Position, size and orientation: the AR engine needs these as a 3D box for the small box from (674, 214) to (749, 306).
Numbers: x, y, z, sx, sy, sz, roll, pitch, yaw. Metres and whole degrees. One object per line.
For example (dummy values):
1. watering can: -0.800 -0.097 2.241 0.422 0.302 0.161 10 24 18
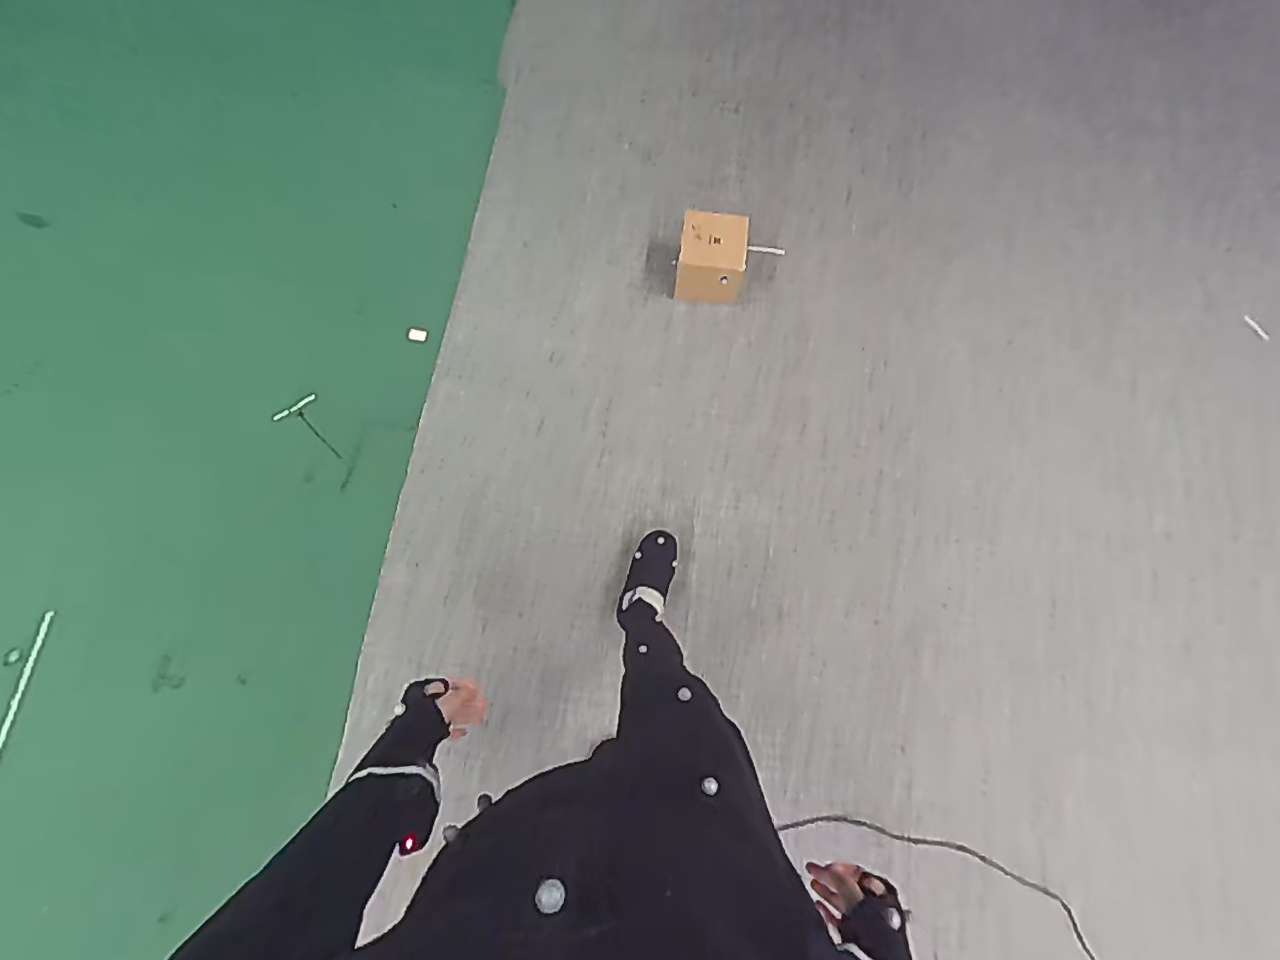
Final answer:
1. small box: 0.193 -0.603 1.500 0.179 0.176 0.168 7 76 2
